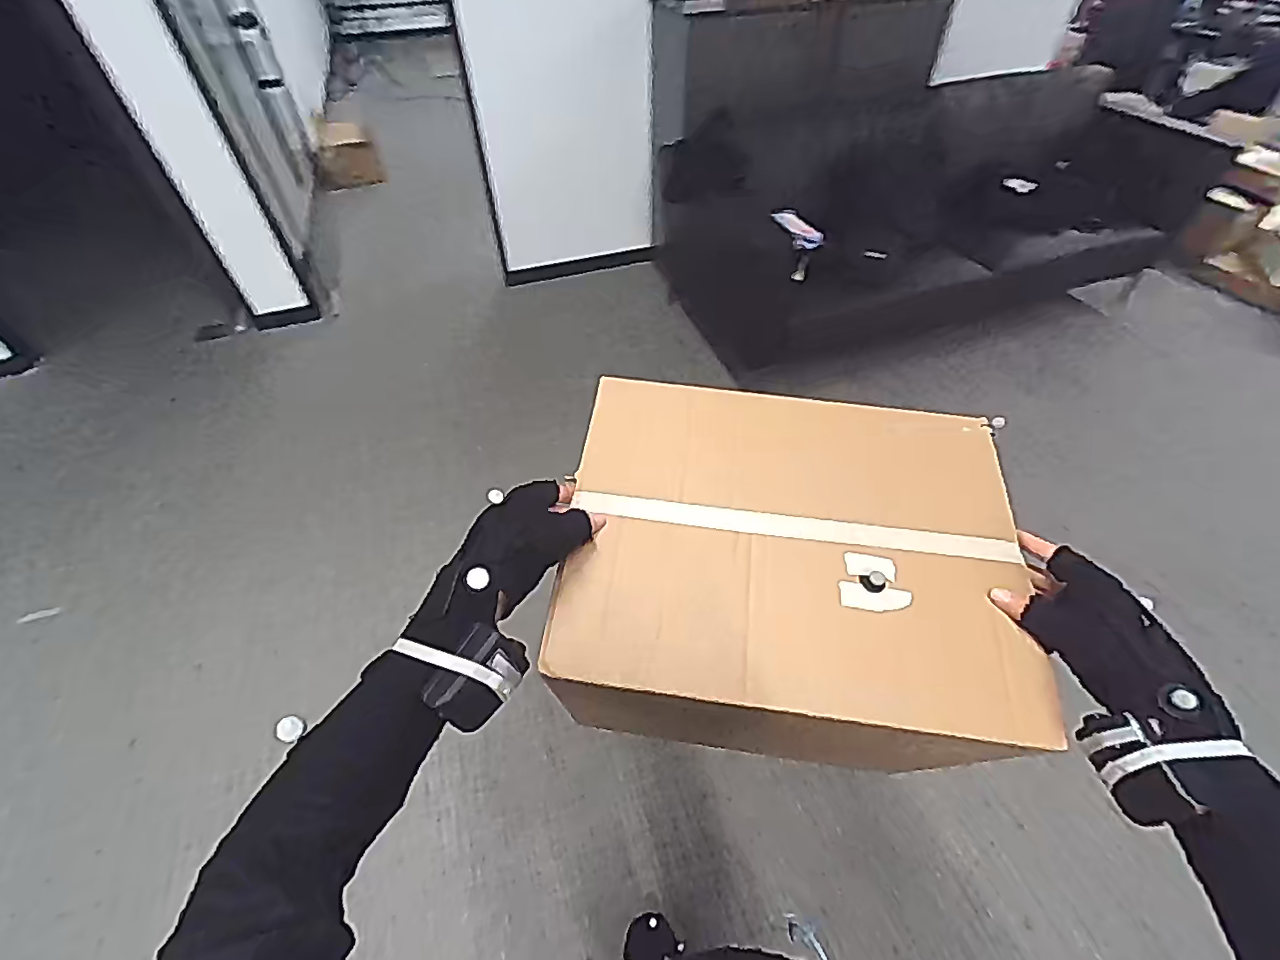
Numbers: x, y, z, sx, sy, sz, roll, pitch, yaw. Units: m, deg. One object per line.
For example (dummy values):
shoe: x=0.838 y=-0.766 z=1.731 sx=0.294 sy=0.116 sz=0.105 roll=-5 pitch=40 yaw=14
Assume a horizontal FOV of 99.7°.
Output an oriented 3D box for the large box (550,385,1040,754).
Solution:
large box: x=0.131 y=0.120 z=0.636 sx=0.408 sy=0.320 sz=0.320 roll=6 pitch=60 yaw=2
